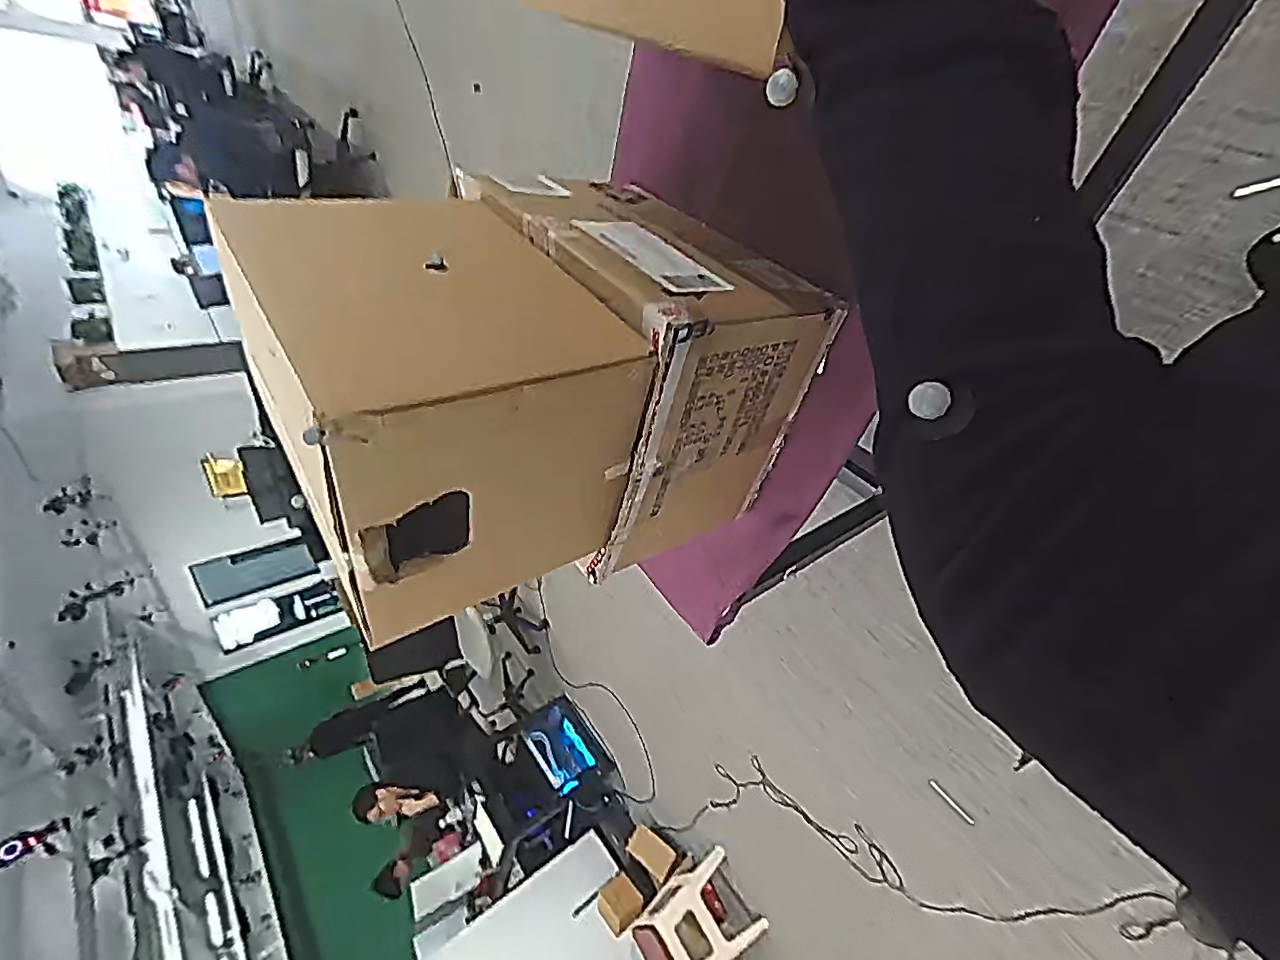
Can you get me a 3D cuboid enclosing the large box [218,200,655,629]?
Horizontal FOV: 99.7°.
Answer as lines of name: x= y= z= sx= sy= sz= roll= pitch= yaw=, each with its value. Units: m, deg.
large box: x=-0.244 y=-0.115 z=0.657 sx=0.408 sy=0.320 sz=0.320 roll=46 pitch=141 yaw=30
